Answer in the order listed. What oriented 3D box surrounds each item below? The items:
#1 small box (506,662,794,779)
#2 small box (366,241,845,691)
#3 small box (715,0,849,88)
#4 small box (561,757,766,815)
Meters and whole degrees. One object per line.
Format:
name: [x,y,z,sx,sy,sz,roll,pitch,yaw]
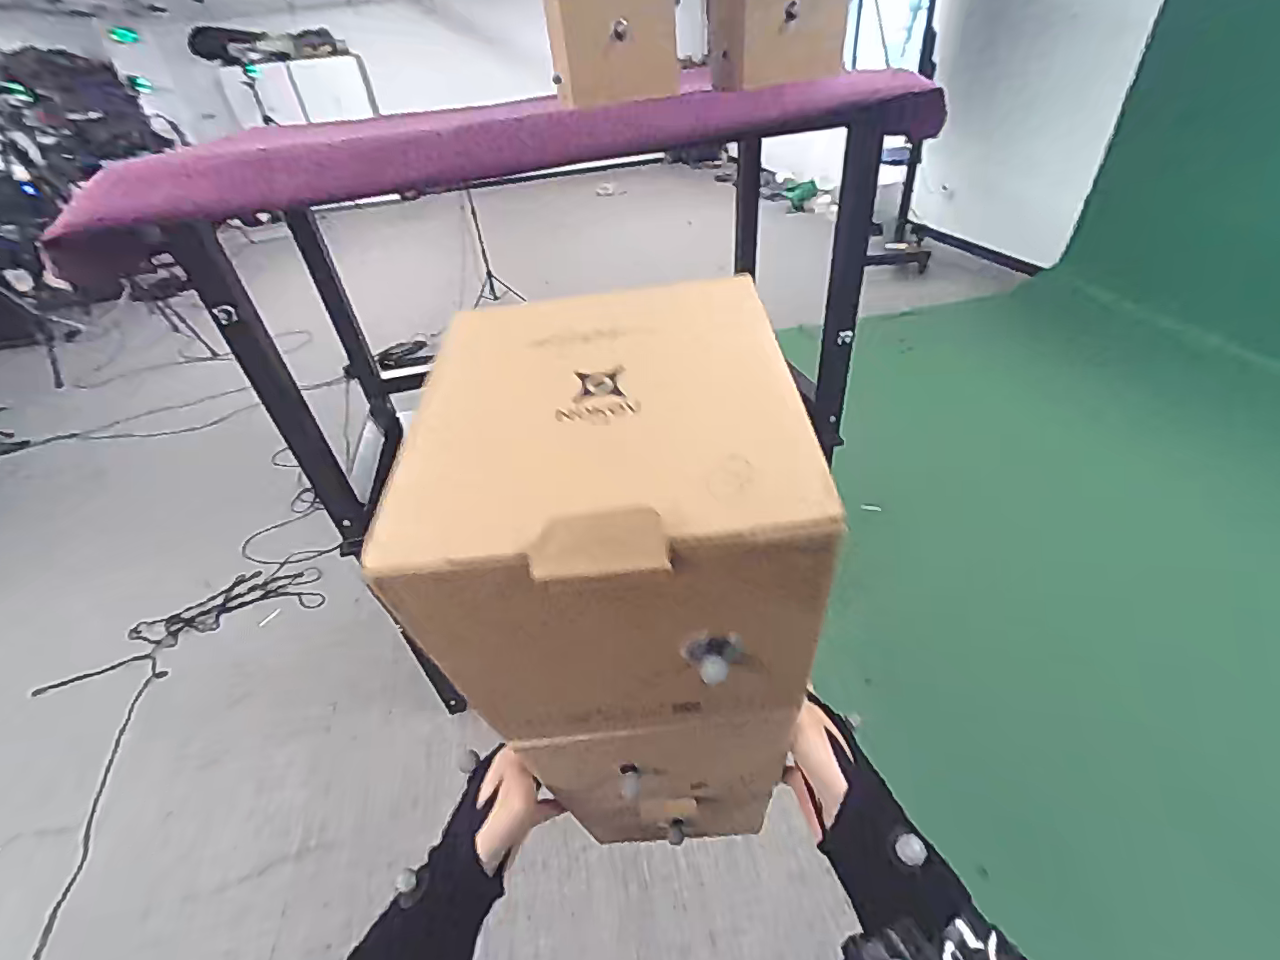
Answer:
small box: [0.008,0.110,0.410,0.168,0.176,0.179,-8,47,1]
small box: [-0.007,-0.001,0.291,0.168,0.176,0.179,-6,47,2]
small box: [0.229,-0.768,0.896,0.179,0.176,0.168,-13,39,-6]
small box: [0.023,0.217,0.533,0.168,0.176,0.179,-6,48,2]
